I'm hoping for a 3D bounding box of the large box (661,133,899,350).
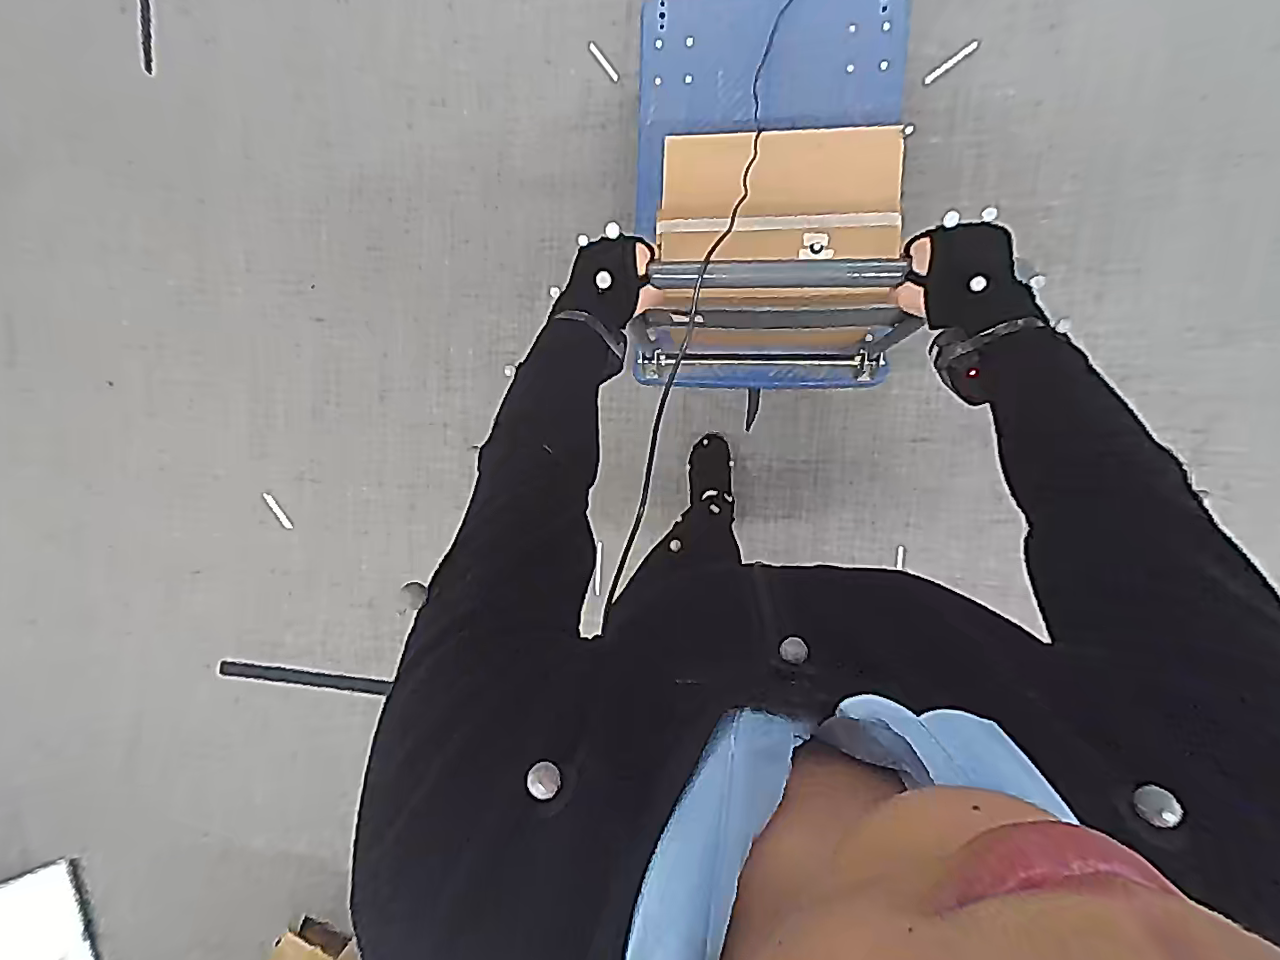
[{"bbox_3d":[0.253,-0.445,1.088,0.408,0.320,0.320,2,94,7],"label":"large box"}]
